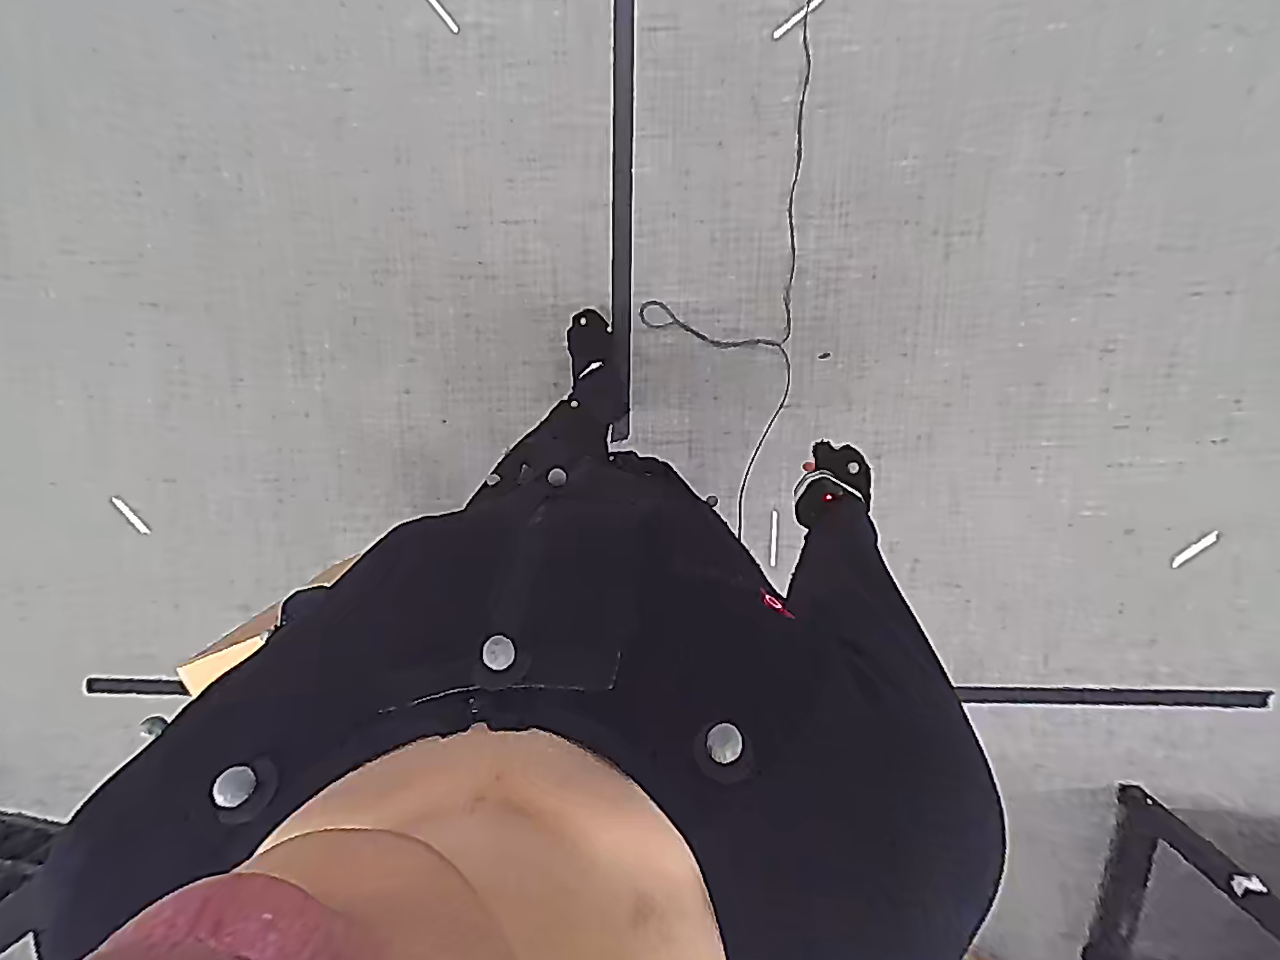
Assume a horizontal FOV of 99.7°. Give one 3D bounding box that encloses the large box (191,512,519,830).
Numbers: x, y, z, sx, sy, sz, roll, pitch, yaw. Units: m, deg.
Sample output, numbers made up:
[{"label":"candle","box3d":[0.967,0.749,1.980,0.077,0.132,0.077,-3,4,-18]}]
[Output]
[{"label":"large box","box3d":[-0.434,0.291,0.954,0.320,0.408,0.320,-23,101,0]}]
